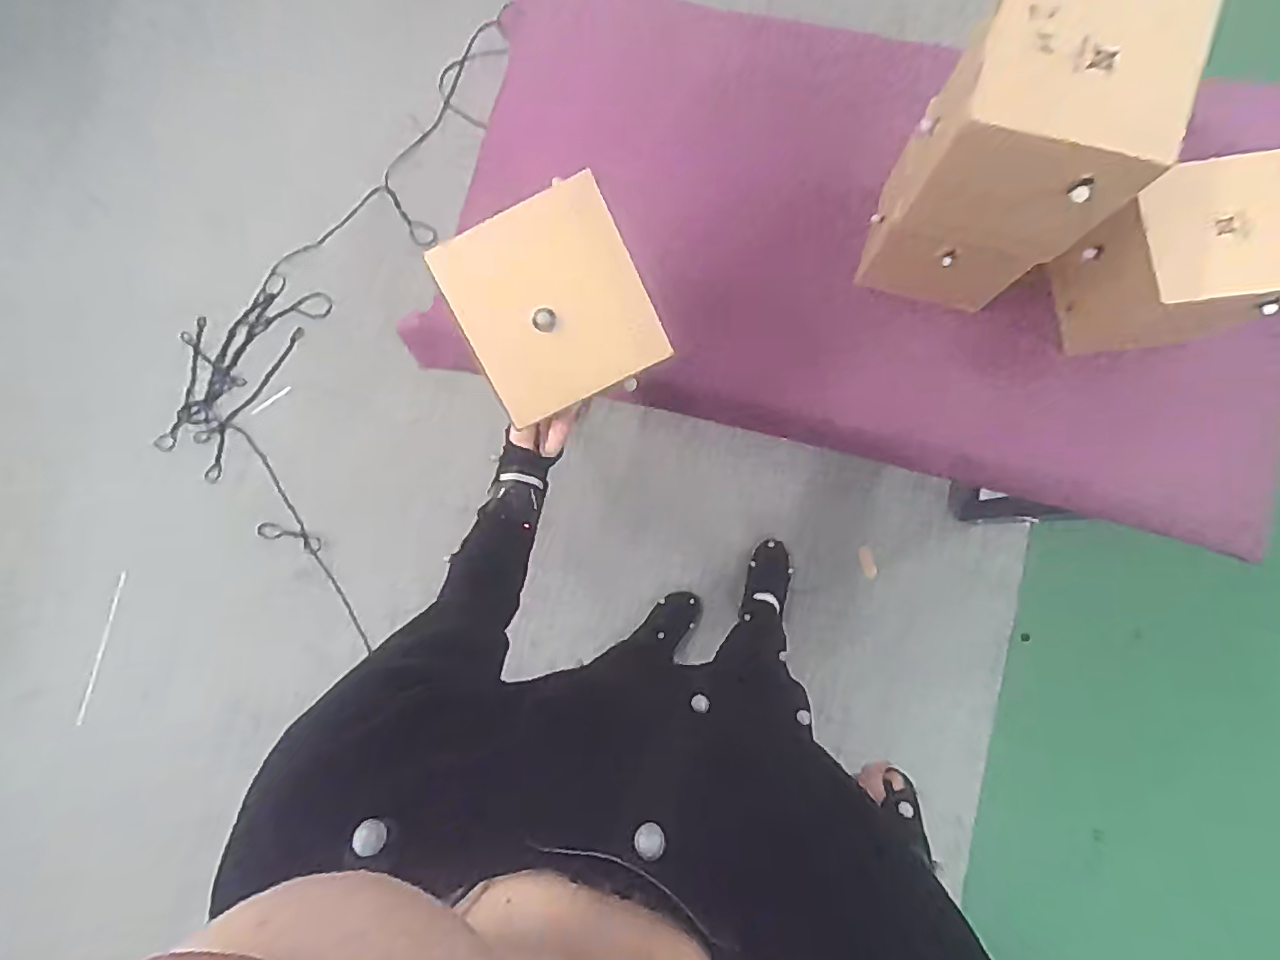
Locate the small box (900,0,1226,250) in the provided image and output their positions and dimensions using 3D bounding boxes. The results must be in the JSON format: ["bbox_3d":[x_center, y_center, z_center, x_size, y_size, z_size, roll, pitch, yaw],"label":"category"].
[{"bbox_3d":[0.397,-0.359,0.542,0.179,0.176,0.168,19,86,7],"label":"small box"}]

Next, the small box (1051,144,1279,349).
[{"bbox_3d":[0.656,-0.275,0.674,0.179,0.176,0.168,-6,83,5],"label":"small box"}]

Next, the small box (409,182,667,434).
[{"bbox_3d":[-0.089,-0.170,0.546,0.176,0.168,0.179,-26,103,4],"label":"small box"}]

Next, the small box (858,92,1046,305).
[{"bbox_3d":[0.410,-0.352,0.706,0.179,0.176,0.168,18,87,7],"label":"small box"}]
